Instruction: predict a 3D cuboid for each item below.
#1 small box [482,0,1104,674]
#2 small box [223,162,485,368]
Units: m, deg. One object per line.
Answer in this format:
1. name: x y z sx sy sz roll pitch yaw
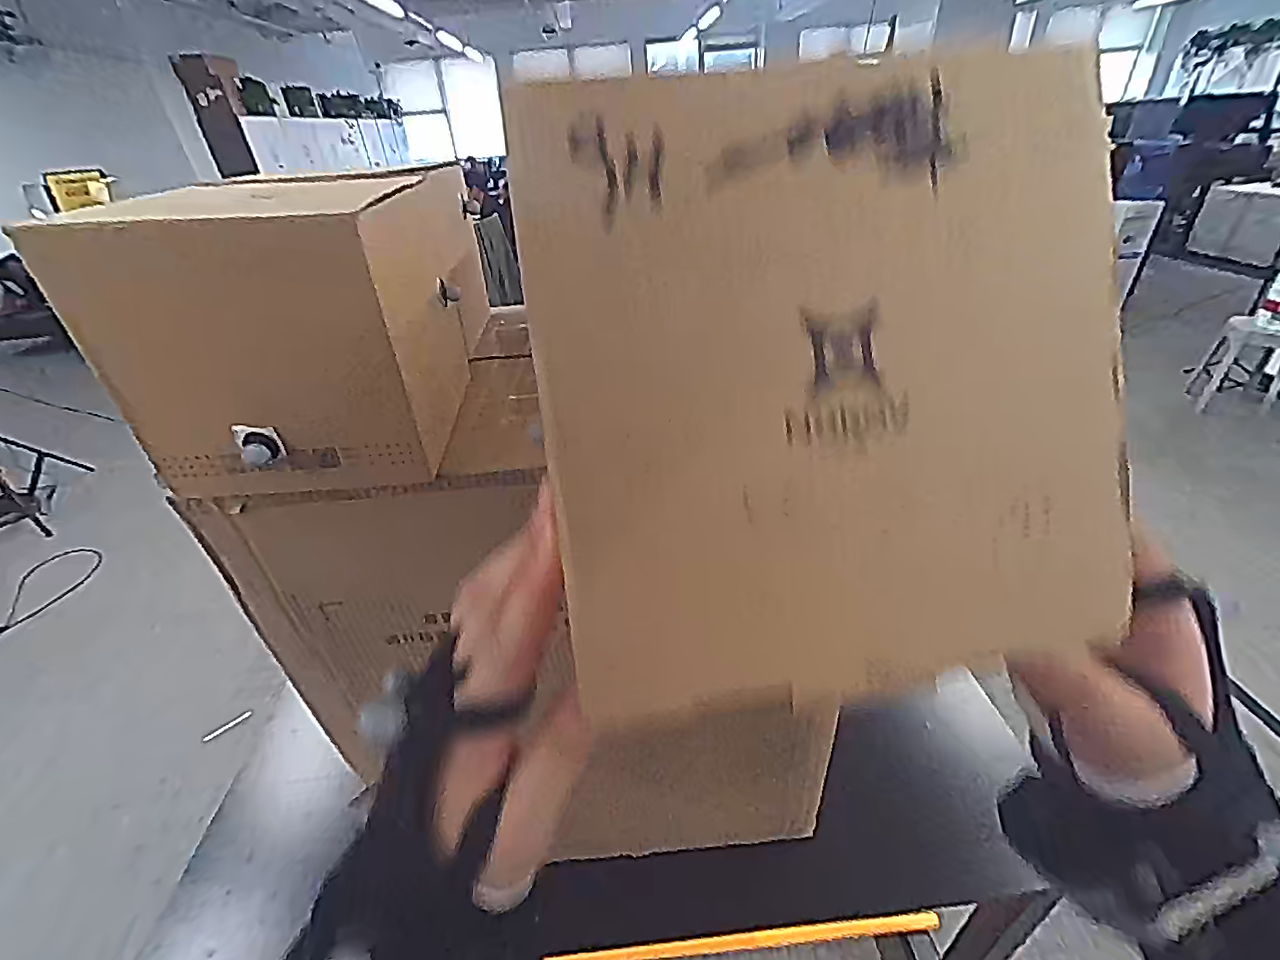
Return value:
1. small box: 0.043 -0.047 0.230 0.168 0.179 0.176 -8 5 -5
2. small box: -0.265 -0.224 0.556 0.168 0.176 0.179 -6 32 -3
